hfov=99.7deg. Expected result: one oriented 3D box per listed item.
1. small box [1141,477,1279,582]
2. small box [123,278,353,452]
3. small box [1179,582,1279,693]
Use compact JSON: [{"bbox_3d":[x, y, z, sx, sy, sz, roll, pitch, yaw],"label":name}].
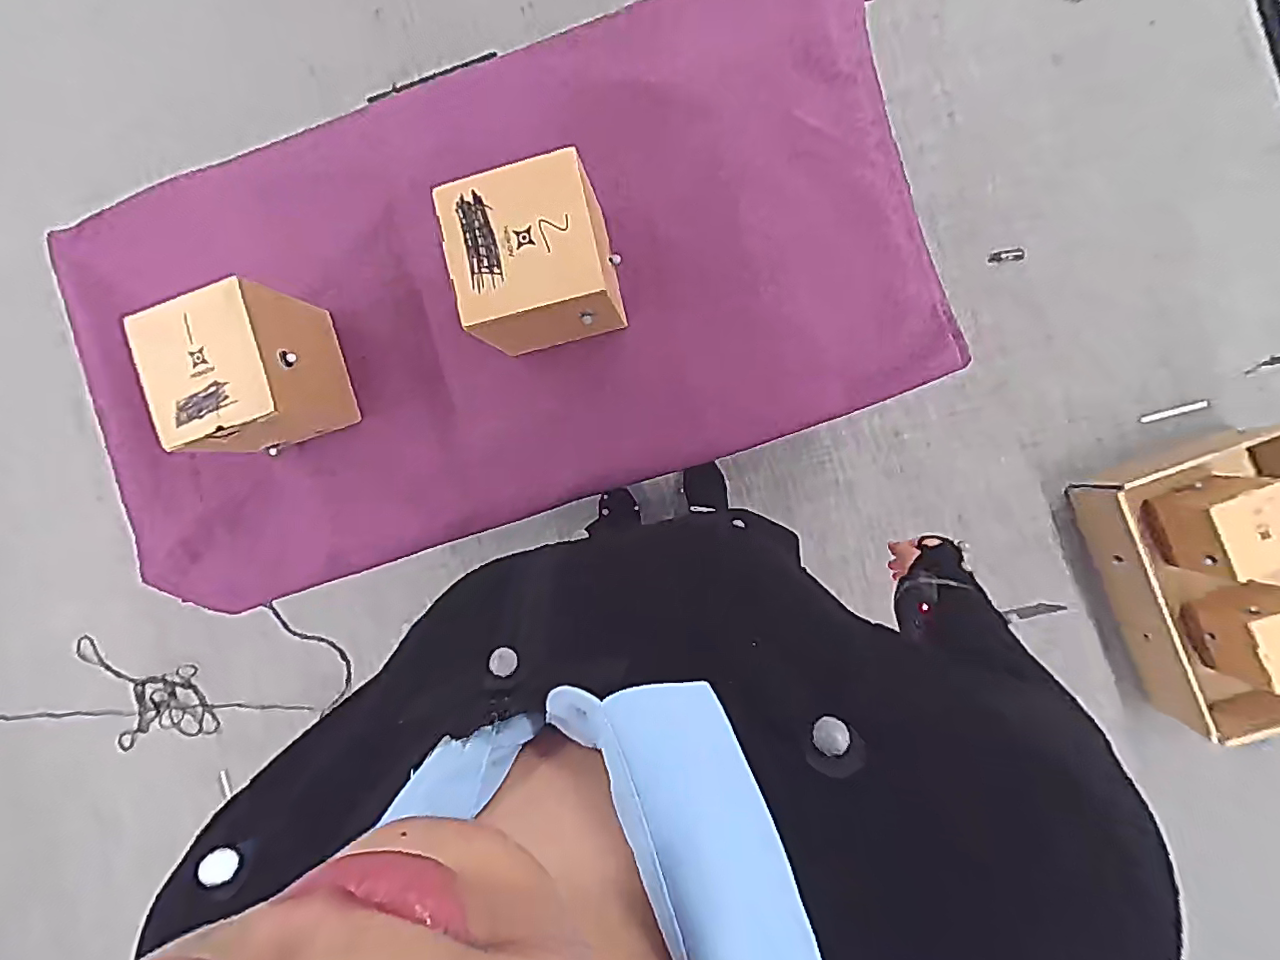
[{"bbox_3d":[1.305,0.103,1.219,0.168,0.176,0.179,-23,90,6],"label":"small box"},{"bbox_3d":[-0.531,-0.144,0.740,0.168,0.176,0.179,-17,90,6],"label":"small box"},{"bbox_3d":[1.399,0.346,1.219,0.179,0.176,0.168,-21,89,7],"label":"small box"}]
